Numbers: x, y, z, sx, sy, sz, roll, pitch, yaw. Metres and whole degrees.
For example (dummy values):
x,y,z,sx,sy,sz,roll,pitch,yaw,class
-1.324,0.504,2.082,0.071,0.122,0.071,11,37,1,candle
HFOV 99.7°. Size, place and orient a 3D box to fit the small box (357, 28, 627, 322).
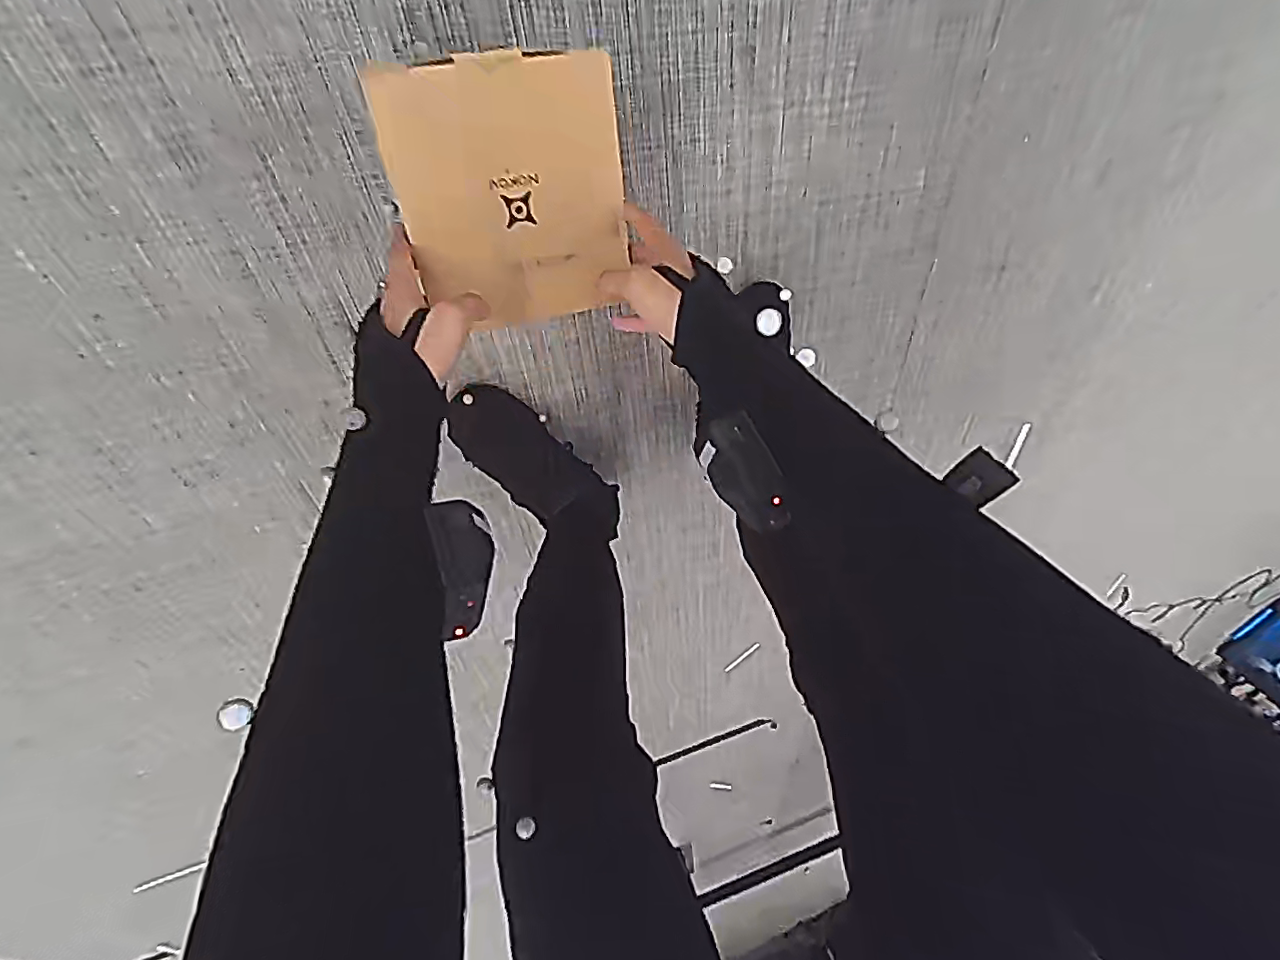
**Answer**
x,y,z,sx,sy,sz,roll,pitch,yaw,class
-0.121,-0.257,0.461,0.168,0.176,0.179,-16,127,-13,small box
